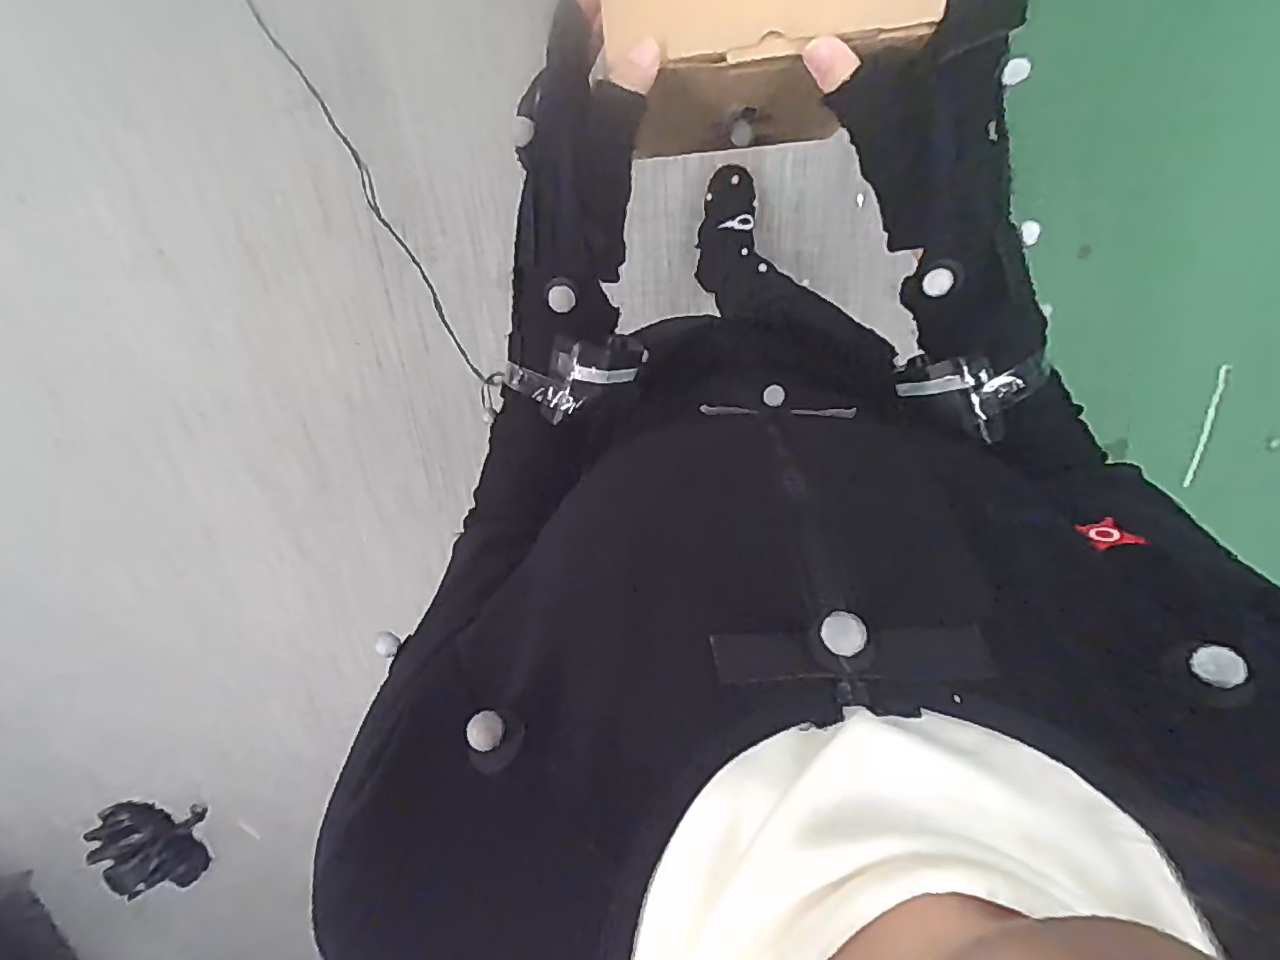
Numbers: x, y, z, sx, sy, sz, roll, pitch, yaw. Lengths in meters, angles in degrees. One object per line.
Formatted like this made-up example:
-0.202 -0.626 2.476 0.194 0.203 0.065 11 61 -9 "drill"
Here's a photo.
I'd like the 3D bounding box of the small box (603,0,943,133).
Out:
0.060 -0.324 0.314 0.168 0.176 0.179 -5 108 3 "small box"
